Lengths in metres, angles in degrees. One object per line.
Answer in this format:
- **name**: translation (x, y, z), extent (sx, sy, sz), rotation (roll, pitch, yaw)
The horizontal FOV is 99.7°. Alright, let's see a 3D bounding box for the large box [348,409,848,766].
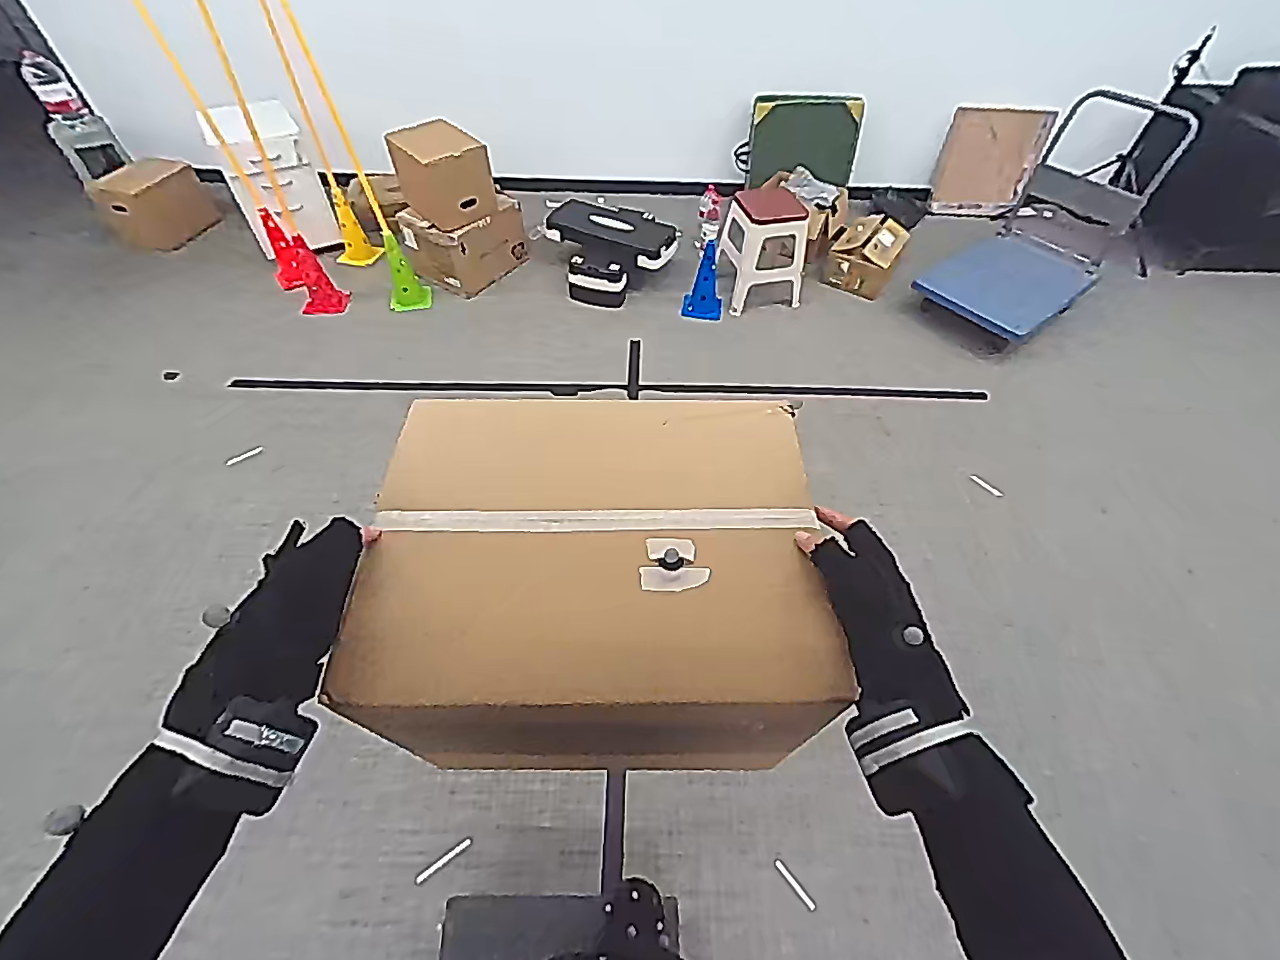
- **large box**: translation (-0.038, 0.133, 0.630), extent (0.408, 0.320, 0.320), rotation (0, 54, -1)
